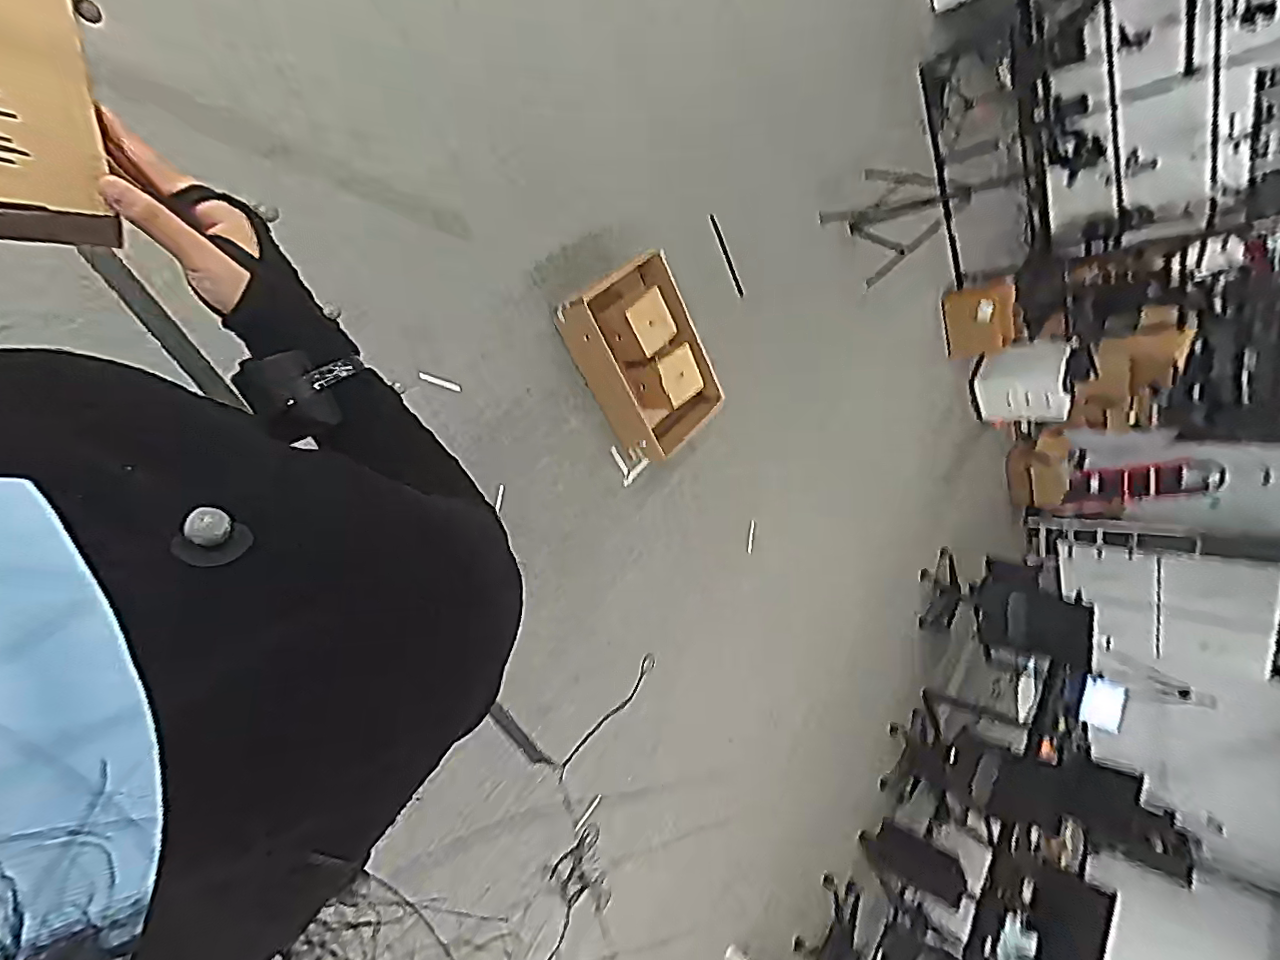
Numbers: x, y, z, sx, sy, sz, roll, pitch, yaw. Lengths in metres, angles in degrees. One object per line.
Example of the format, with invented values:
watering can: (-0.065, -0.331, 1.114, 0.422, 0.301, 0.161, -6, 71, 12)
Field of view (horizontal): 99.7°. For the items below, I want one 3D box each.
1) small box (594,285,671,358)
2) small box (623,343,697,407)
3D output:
small box: (-0.034, -0.528, 1.824, 0.179, 0.176, 0.168, -48, 124, -29)
small box: (0.071, -0.372, 1.936, 0.179, 0.176, 0.168, -41, 118, -32)
